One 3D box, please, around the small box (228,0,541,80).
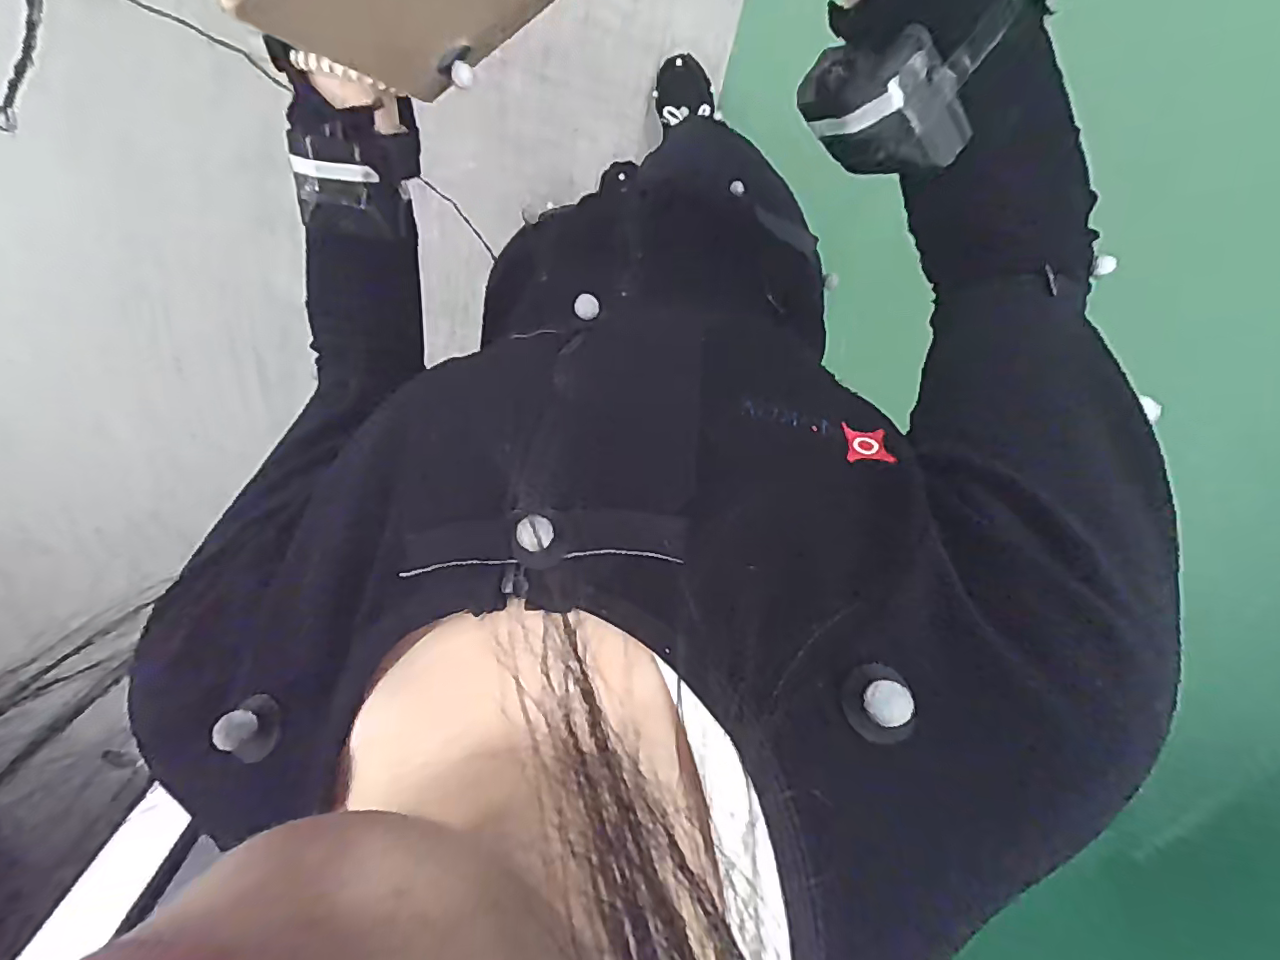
[{"bbox_3d":[-0.102,-0.288,0.197,0.168,0.176,0.179,-28,110,14],"label":"small box"}]
